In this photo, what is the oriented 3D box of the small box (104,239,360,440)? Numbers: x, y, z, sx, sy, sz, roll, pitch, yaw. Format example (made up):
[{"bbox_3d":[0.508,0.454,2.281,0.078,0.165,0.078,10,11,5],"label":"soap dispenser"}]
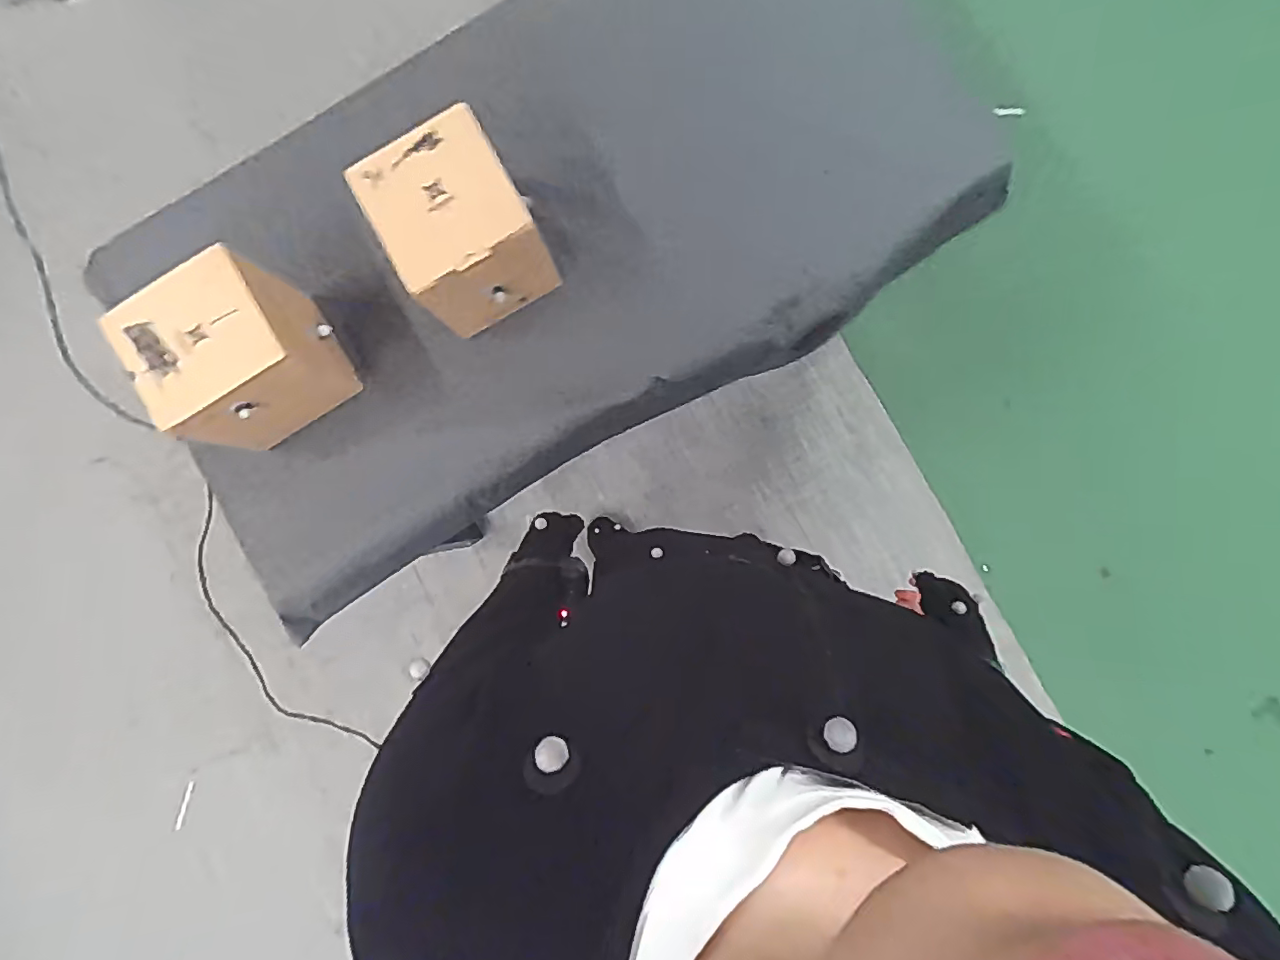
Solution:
[{"bbox_3d":[-0.518,-0.168,0.713,0.179,0.176,0.168,-32,86,0],"label":"small box"}]

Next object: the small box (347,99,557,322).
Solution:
[{"bbox_3d":[-0.228,-0.327,0.704,0.168,0.176,0.179,-30,87,2],"label":"small box"}]
